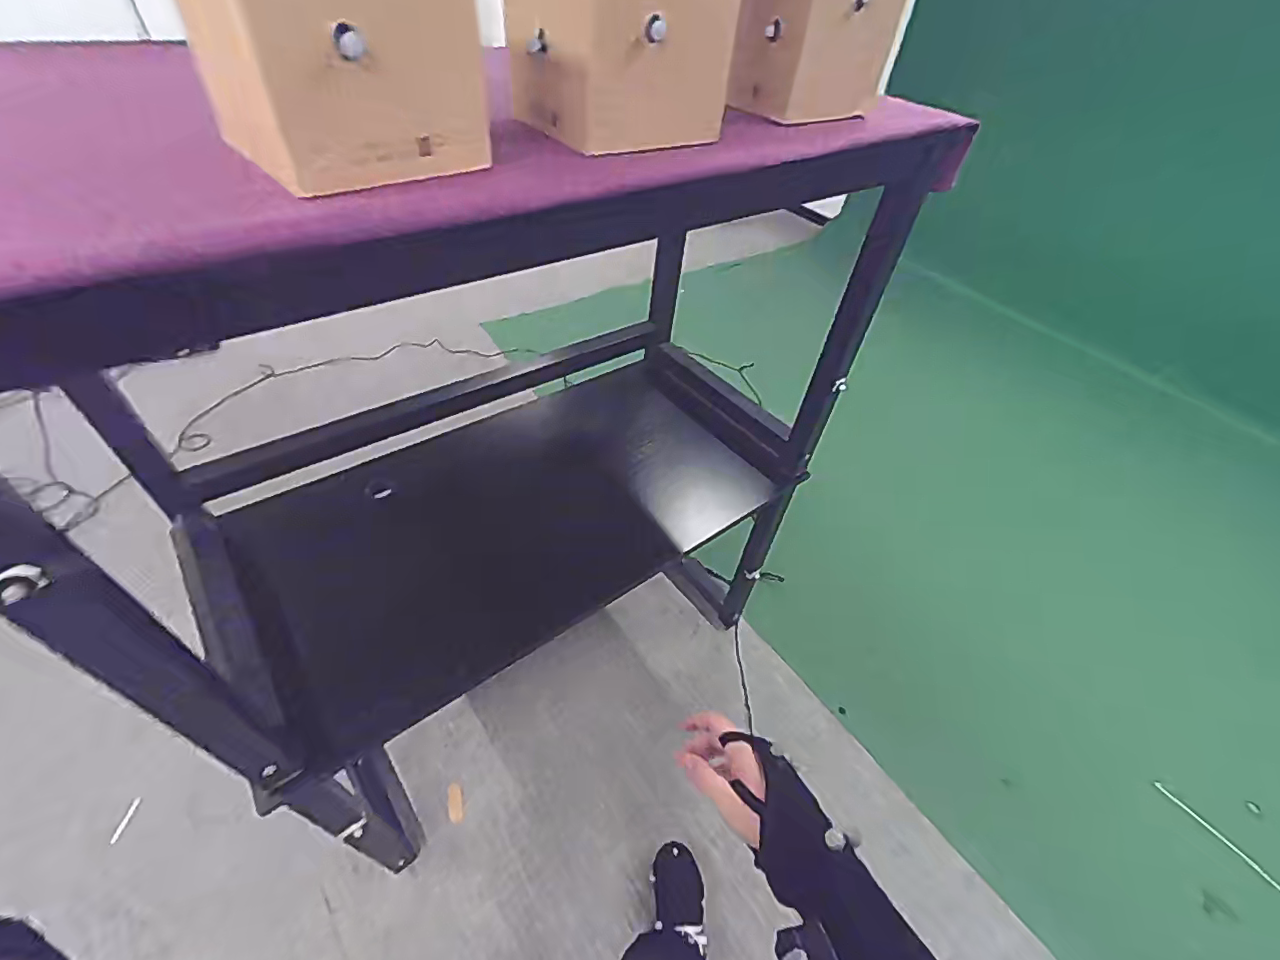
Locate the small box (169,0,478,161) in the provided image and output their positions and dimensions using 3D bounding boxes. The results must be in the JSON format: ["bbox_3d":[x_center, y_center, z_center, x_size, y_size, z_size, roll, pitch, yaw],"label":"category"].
[{"bbox_3d":[-0.241,-0.355,0.405,0.168,0.176,0.179,-30,56,-31],"label":"small box"}]

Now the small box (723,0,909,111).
[{"bbox_3d":[0.218,-0.583,0.680,0.179,0.176,0.168,-23,53,-25],"label":"small box"}]

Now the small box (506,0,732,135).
[{"bbox_3d":[-0.021,-0.457,0.529,0.179,0.176,0.168,-25,55,-26],"label":"small box"}]
